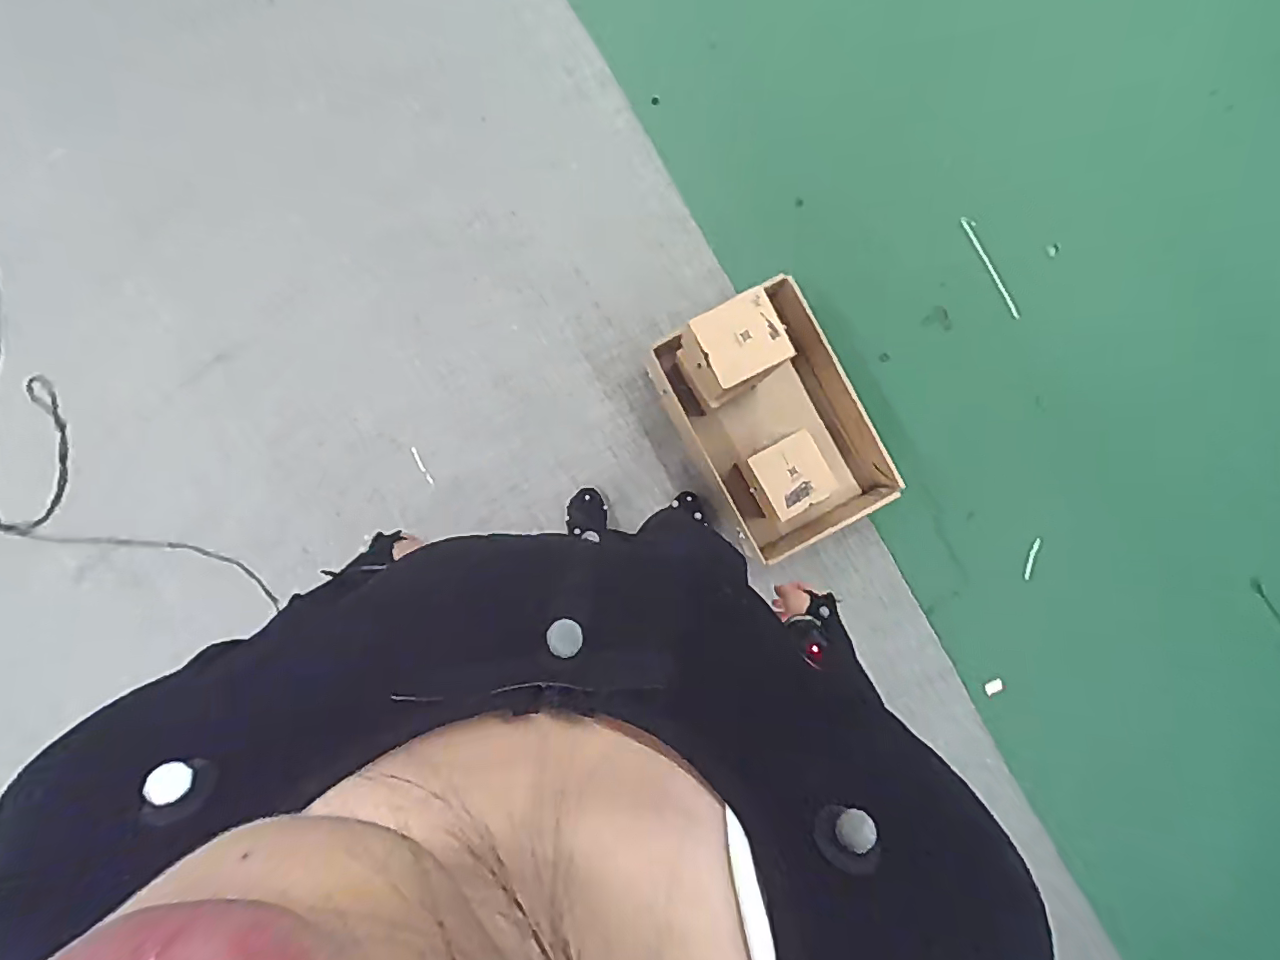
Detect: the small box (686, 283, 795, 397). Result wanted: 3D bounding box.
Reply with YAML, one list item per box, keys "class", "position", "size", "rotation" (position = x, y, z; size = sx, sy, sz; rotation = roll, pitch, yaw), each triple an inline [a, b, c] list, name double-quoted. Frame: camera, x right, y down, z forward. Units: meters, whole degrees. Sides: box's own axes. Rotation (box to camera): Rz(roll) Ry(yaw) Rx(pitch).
- class: "small box"
  position: [0.212, -0.299, 1.198]
  size: [0.179, 0.176, 0.168]
  rotation: [-27, 91, 1]

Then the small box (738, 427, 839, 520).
- class: "small box"
  position: [0.368, -0.018, 1.367]
  size: [0.168, 0.176, 0.179]
  rotation: [-29, 90, 0]
